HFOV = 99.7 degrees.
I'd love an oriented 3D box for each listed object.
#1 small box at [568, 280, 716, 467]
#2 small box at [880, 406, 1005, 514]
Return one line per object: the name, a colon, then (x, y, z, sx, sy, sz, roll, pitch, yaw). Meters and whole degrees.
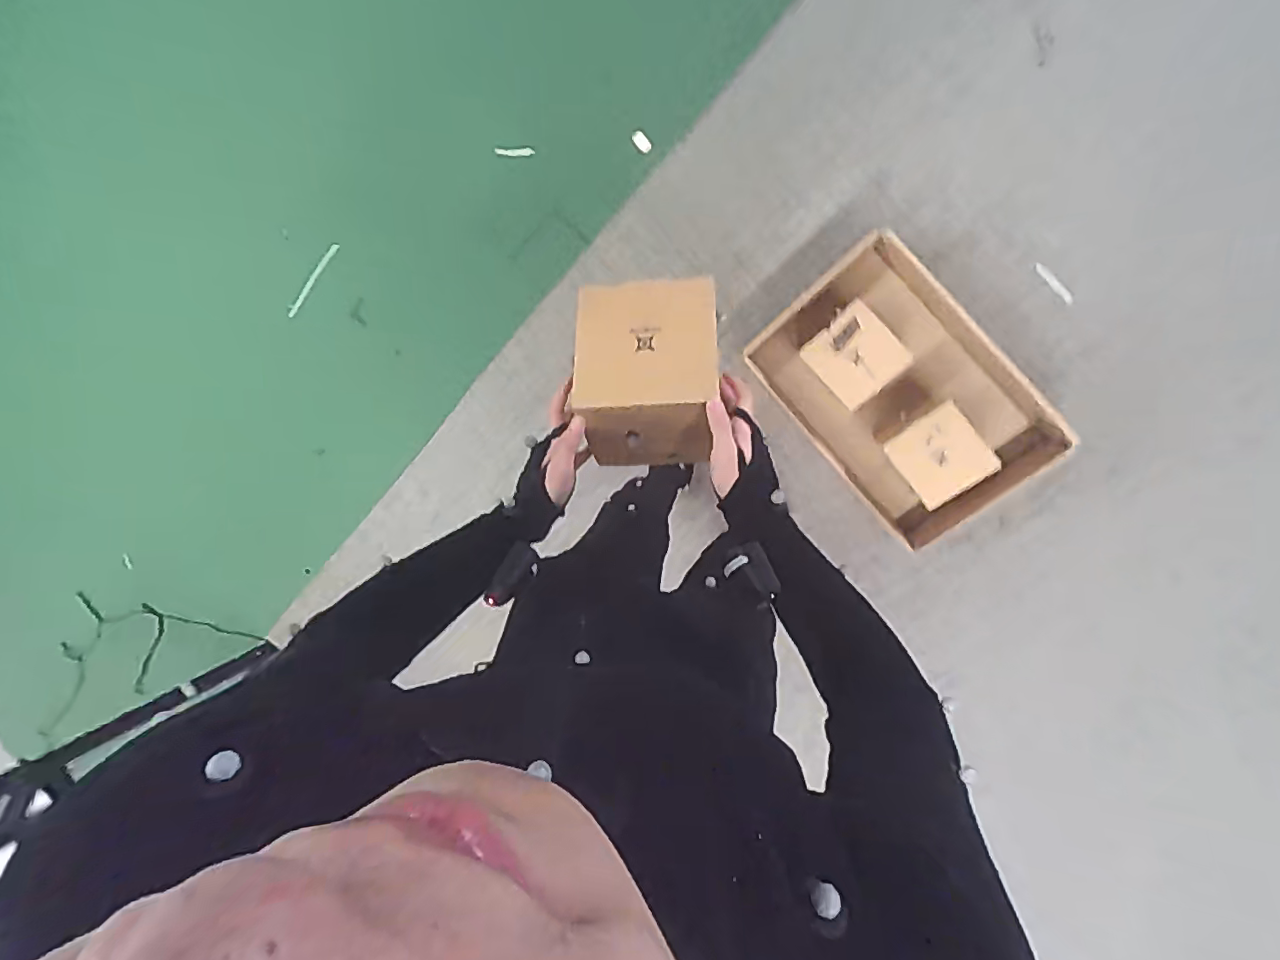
small box: (0.011, -0.124, 0.695, 0.168, 0.176, 0.179, -3, 66, 7)
small box: (0.669, -0.054, 1.217, 0.168, 0.176, 0.179, -37, 87, 20)
